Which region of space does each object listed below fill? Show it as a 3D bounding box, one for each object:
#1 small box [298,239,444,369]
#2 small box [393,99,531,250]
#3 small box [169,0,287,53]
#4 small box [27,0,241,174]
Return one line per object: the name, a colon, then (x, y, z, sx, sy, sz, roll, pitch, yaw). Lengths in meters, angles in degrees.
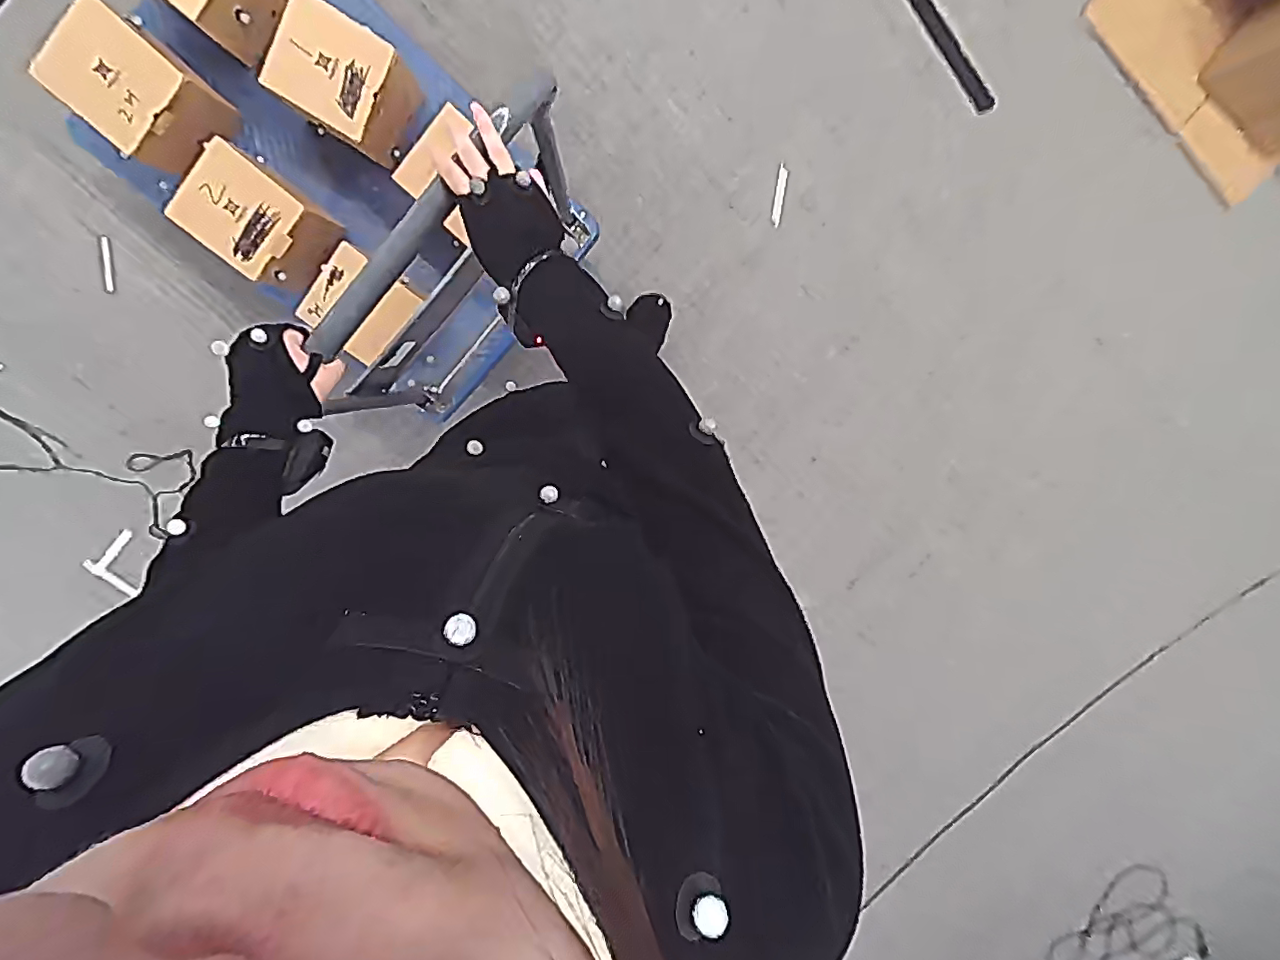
small box: (-0.520, -0.344, 1.076, 0.179, 0.176, 0.168, 36, 97, -14)
small box: (-0.328, -0.568, 1.041, 0.179, 0.176, 0.168, 40, 96, -14)
small box: (-0.741, -0.875, 0.912, 0.179, 0.176, 0.168, 37, 98, -14)
small box: (-0.867, -0.679, 0.948, 0.179, 0.176, 0.168, 42, 97, -16)
